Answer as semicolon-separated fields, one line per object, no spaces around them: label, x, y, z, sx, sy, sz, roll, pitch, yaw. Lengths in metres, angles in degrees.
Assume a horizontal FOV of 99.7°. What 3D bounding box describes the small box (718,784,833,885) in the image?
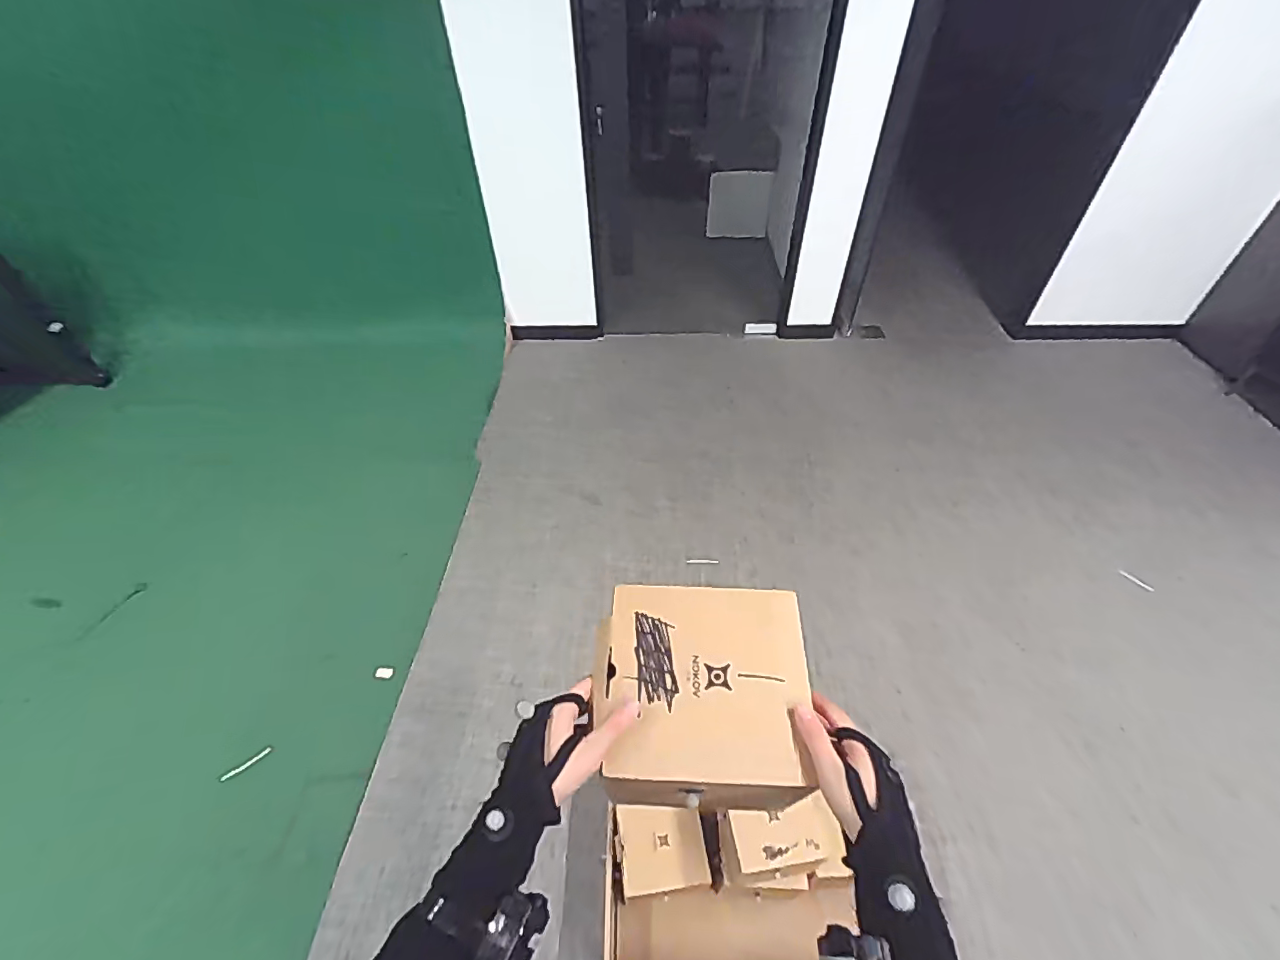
small box;0.250;0.664;1.059;0.168;0.176;0.179;-7;46;-4

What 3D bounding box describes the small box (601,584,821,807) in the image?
small box;0.061;0.217;0.533;0.179;0.176;0.168;2;53;2
